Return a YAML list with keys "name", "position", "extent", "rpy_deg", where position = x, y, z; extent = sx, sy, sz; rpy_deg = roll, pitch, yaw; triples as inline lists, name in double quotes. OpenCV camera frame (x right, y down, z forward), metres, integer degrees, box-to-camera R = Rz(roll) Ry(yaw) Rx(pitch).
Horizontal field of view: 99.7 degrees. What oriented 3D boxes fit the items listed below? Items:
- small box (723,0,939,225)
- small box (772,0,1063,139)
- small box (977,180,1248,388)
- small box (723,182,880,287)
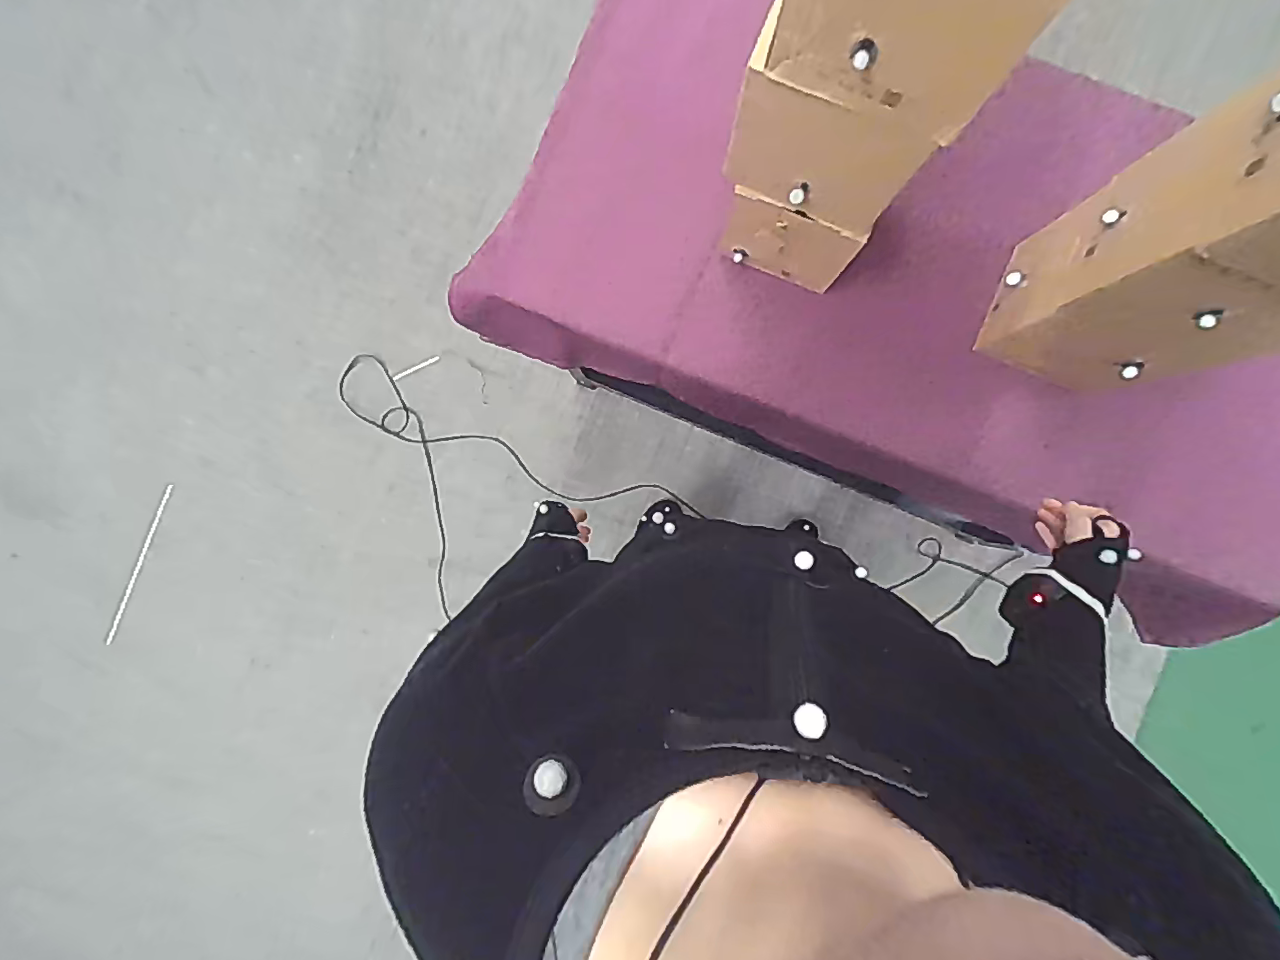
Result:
- name: "small box"
  position: [0.200, -0.385, 0.533]
  extent: [0.179, 0.176, 0.168]
  rpy_deg: [24, 89, 1]
- name: "small box"
  position: [0.206, -0.389, 0.370]
  extent: [0.168, 0.176, 0.179]
  rpy_deg: [22, 90, 2]
- name: "small box"
  position: [0.580, -0.228, 0.681]
  extent: [0.179, 0.176, 0.168]
  rpy_deg: [24, 89, 2]
- name: "small box"
  position: [0.216, -0.379, 0.697]
  extent: [0.168, 0.176, 0.179]
  rpy_deg: [22, 89, 2]
